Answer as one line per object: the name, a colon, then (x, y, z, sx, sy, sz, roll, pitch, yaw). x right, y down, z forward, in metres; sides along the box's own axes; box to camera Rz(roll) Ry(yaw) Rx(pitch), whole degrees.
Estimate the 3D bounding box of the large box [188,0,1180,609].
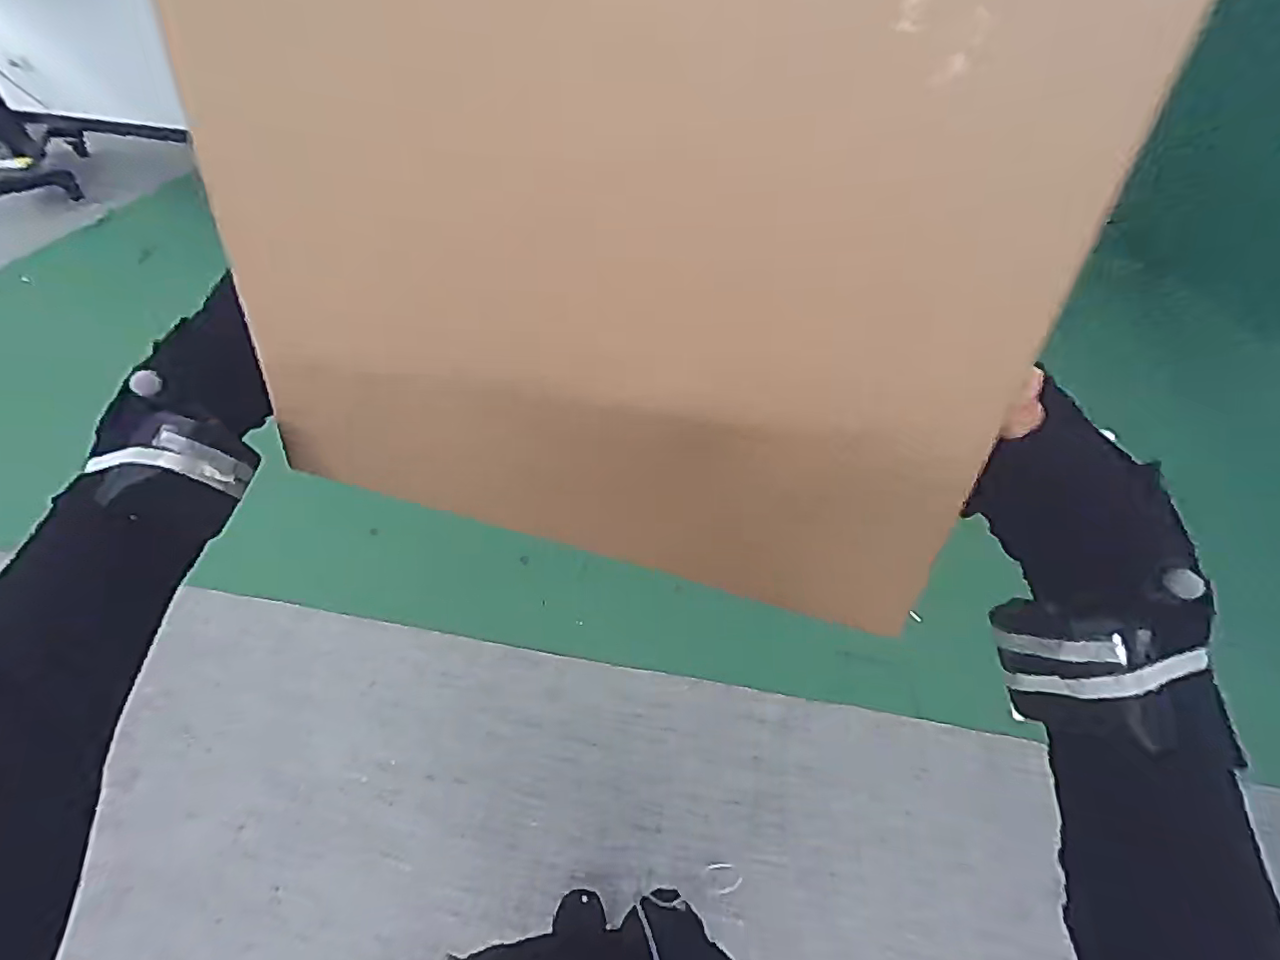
large box: (0.008, -0.163, 0.389, 0.408, 0.320, 0.320, 14, 34, 12)
